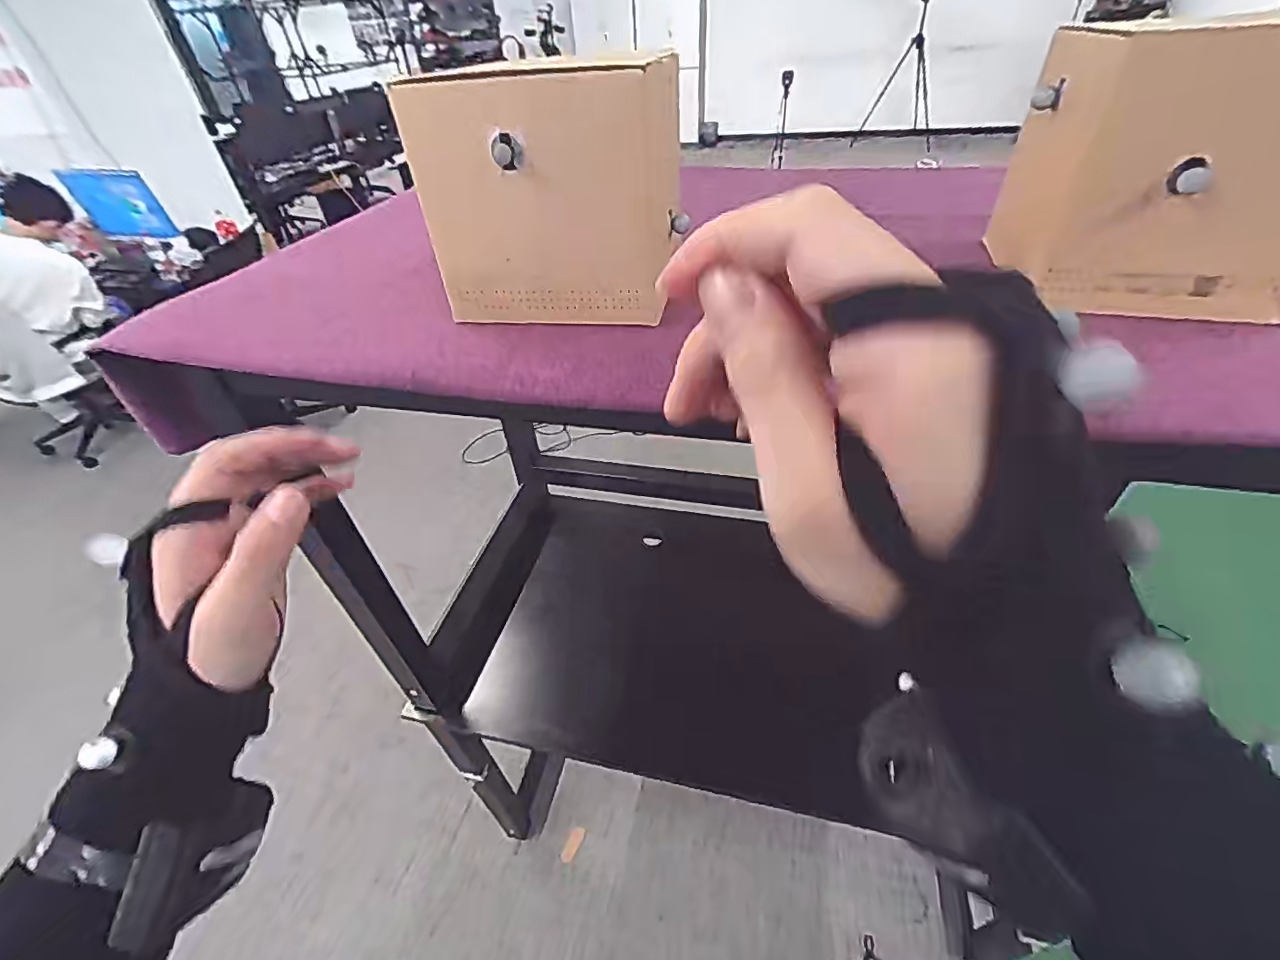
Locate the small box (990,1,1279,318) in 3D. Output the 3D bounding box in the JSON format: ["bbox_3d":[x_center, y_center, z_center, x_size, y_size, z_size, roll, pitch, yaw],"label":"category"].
[{"bbox_3d":[0.383,-0.229,0.392,0.168,0.176,0.179,9,41,16],"label":"small box"}]

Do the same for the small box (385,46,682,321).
[{"bbox_3d":[-0.063,-0.242,0.445,0.179,0.176,0.168,4,41,10],"label":"small box"}]
